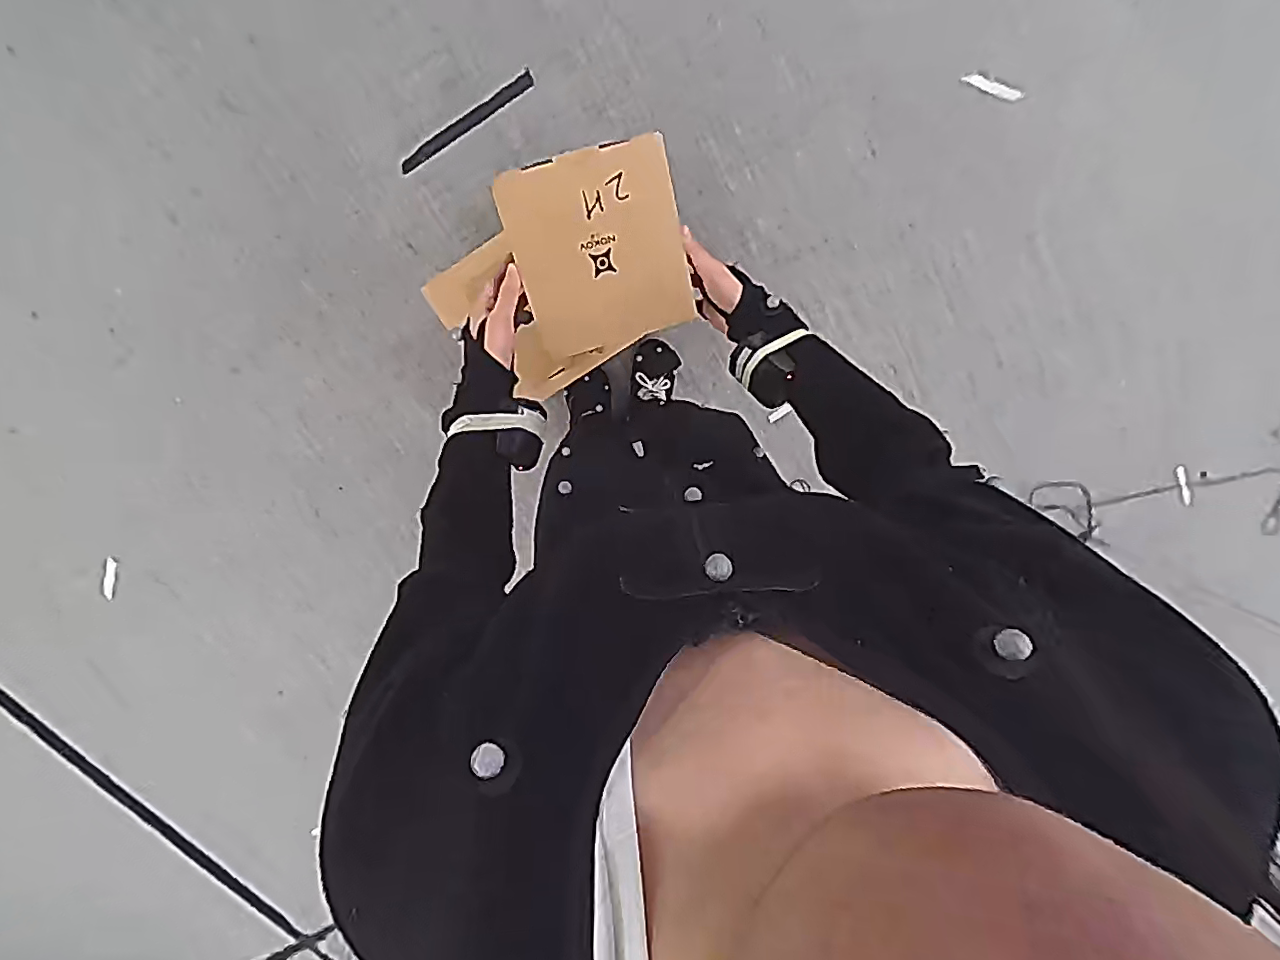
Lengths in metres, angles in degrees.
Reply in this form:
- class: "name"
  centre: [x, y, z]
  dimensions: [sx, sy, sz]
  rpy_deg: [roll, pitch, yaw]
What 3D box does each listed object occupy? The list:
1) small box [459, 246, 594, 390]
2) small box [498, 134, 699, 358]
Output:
- class: "small box"
  centre: [-0.148, -0.268, 0.850]
  dimensions: [0.168, 0.176, 0.179]
  rpy_deg: [-34, 107, 4]
- class: "small box"
  centre: [-0.045, -0.254, 0.597]
  dimensions: [0.168, 0.176, 0.179]
  rpy_deg: [-16, 116, -4]
